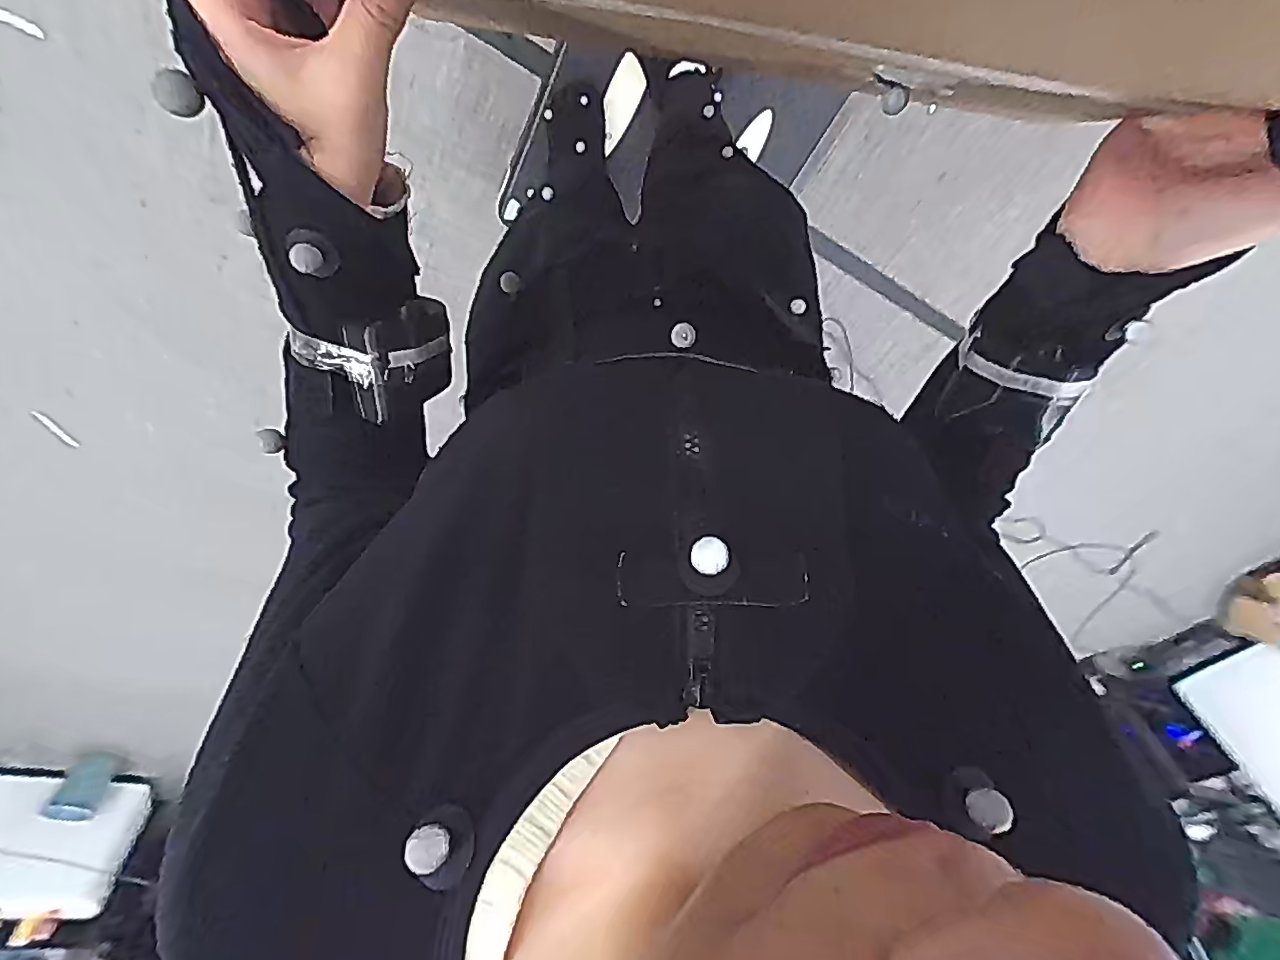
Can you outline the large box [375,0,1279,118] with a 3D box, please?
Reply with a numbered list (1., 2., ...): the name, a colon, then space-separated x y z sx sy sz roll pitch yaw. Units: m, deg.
1. large box: 0.073 -0.313 0.137 0.408 0.320 0.320 6 123 -4
